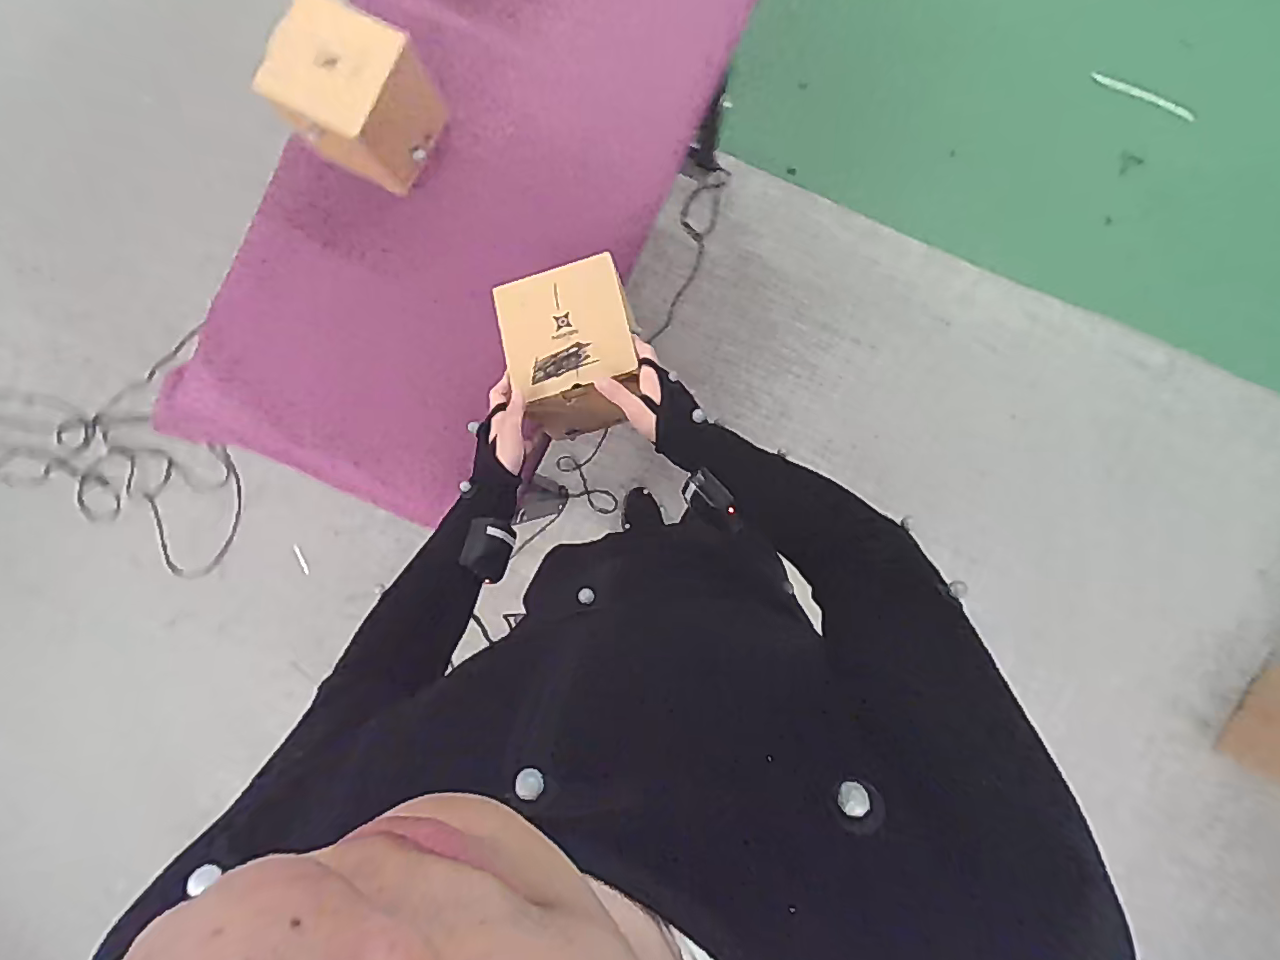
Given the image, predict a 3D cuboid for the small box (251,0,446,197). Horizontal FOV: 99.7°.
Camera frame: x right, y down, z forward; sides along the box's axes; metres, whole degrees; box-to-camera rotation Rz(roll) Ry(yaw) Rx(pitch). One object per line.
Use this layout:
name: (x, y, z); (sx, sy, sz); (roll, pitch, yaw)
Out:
small box: (-0.444, -0.587, 0.851); (0.179, 0.176, 0.168); (27, 90, 1)

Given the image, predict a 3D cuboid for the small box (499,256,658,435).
small box: (-0.078, -0.174, 0.764); (0.168, 0.176, 0.179); (-14, 76, 6)
